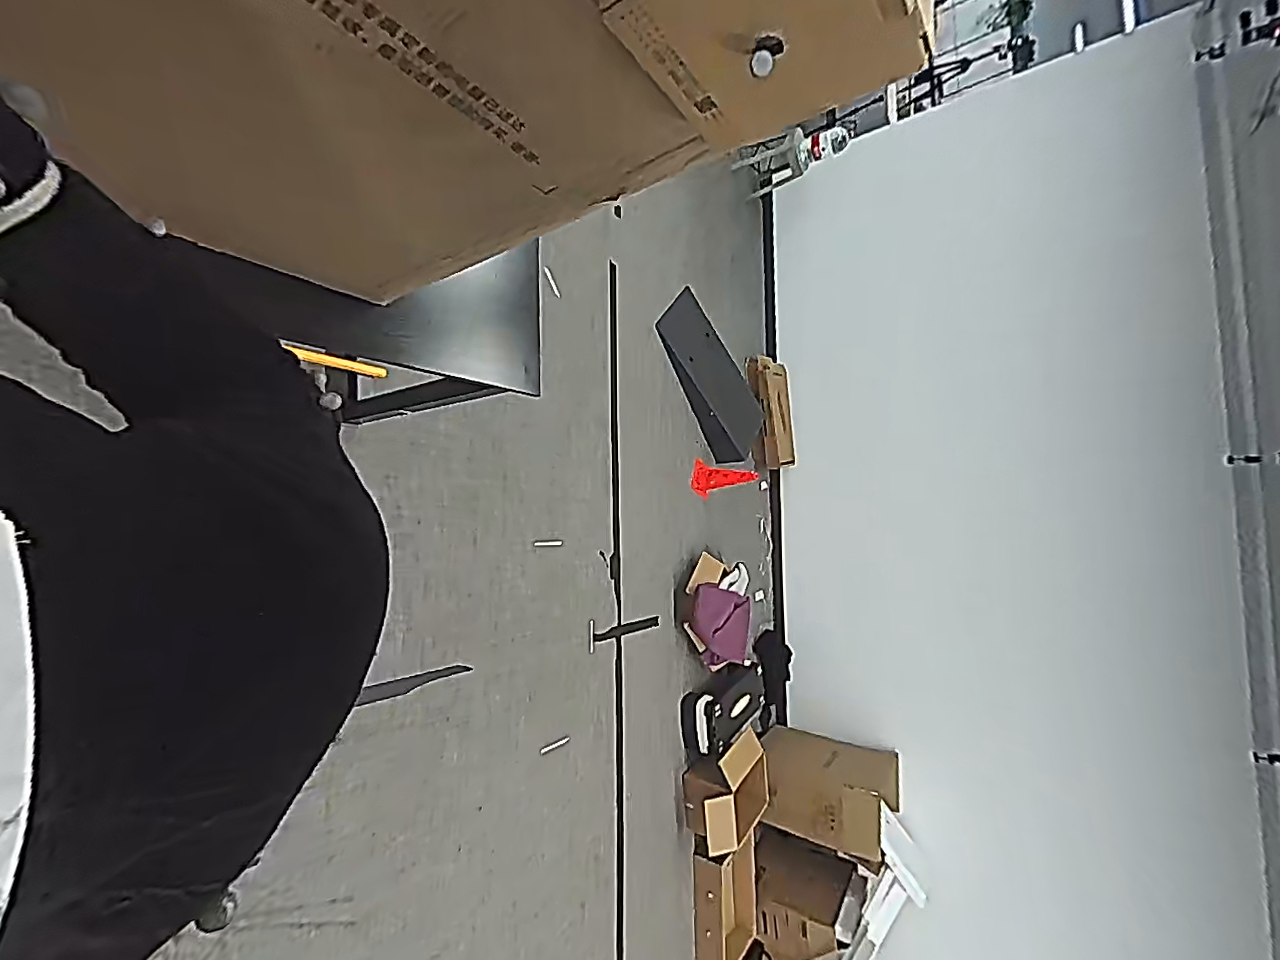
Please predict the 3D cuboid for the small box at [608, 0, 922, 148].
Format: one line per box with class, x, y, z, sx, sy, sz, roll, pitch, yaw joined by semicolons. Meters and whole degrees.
small box;0.086;-0.374;0.372;0.168;0.176;0.179;6;85;-54
